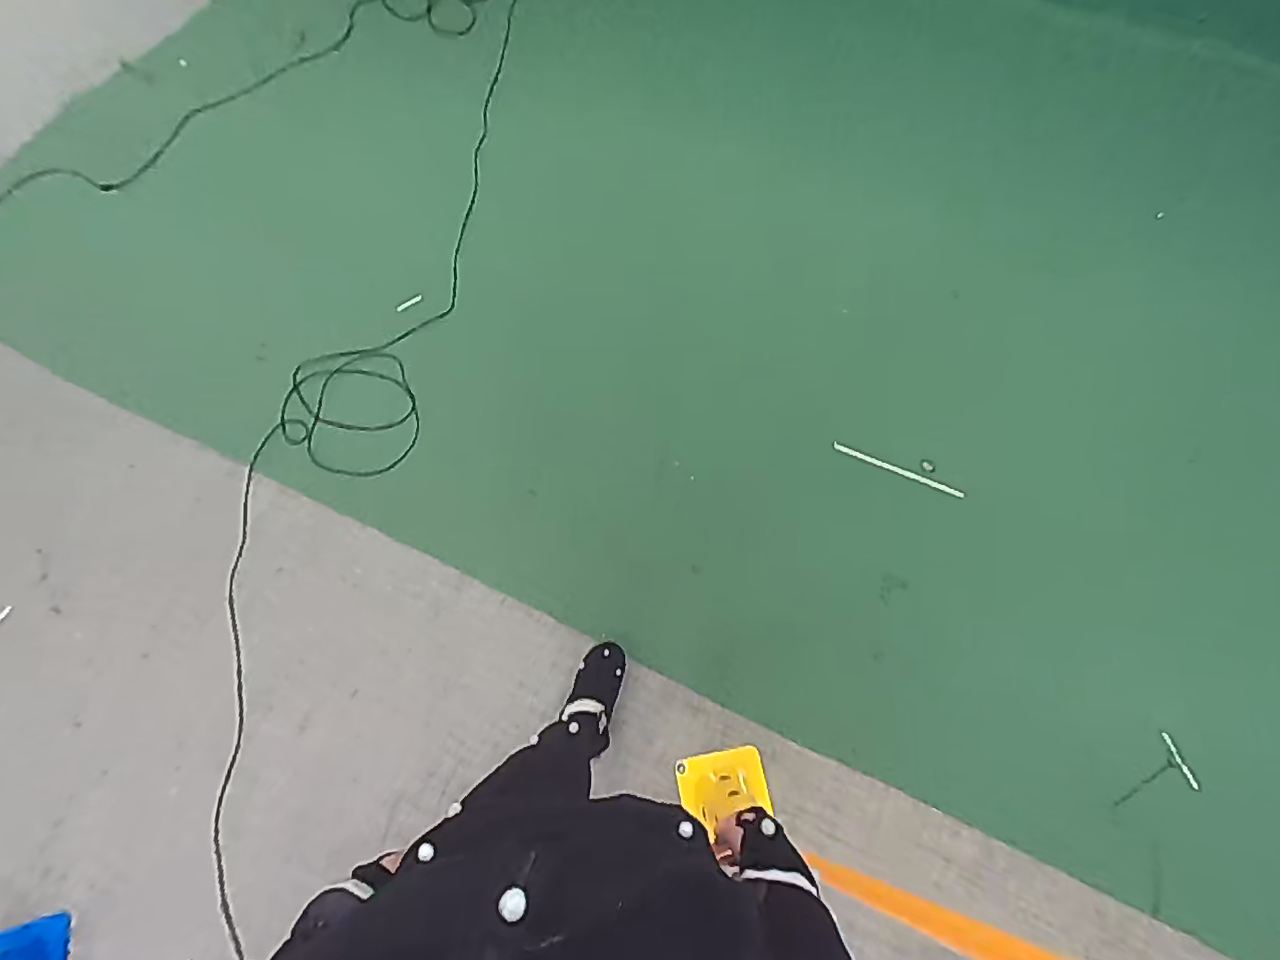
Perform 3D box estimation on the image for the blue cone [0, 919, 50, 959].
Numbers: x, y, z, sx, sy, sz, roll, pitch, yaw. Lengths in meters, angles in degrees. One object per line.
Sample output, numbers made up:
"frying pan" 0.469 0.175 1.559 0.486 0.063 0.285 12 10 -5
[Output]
"blue cone" -1.308 0.980 0.947 0.193 0.380 0.192 -19 71 -4
